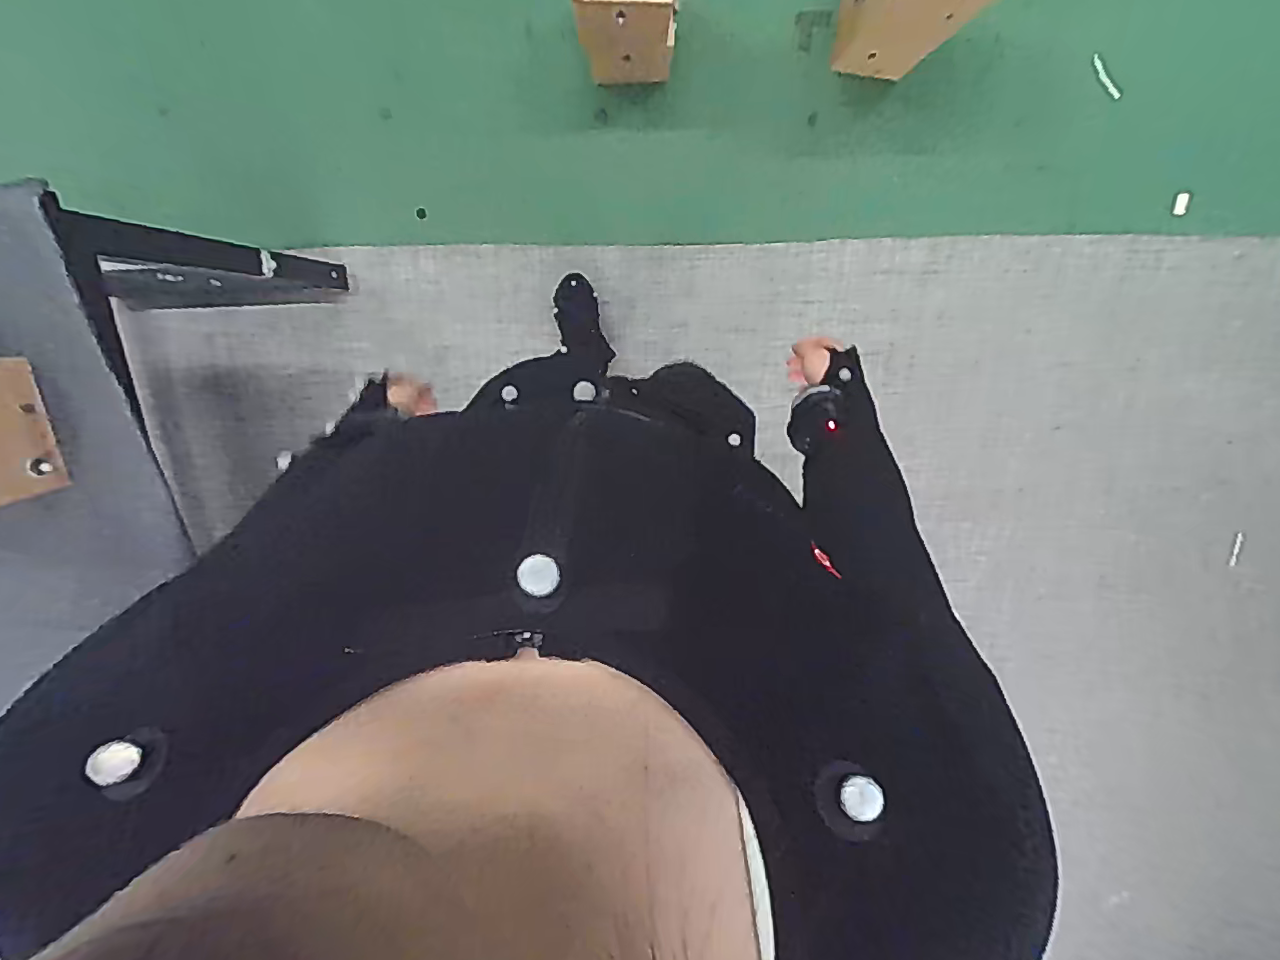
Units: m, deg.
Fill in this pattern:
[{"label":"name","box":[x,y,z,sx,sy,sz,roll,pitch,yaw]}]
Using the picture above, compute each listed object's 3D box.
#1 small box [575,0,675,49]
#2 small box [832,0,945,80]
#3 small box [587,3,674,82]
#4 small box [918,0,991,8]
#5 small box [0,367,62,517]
[{"label":"small box","box":[-0.029,-0.915,0.978,0.179,0.176,0.168,-1,107,-3]},{"label":"small box","box":[0.530,-0.995,1.154,0.168,0.176,0.179,5,106,-4]},{"label":"small box","box":[-0.023,-0.962,1.134,0.179,0.176,0.168,-3,107,-2]},{"label":"small box","box":[0.539,-0.893,0.841,0.168,0.176,0.179,1,105,-4]},{"label":"small box","box":[-0.820,-0.034,0.604,0.179,0.176,0.168,-1,107,1]}]
